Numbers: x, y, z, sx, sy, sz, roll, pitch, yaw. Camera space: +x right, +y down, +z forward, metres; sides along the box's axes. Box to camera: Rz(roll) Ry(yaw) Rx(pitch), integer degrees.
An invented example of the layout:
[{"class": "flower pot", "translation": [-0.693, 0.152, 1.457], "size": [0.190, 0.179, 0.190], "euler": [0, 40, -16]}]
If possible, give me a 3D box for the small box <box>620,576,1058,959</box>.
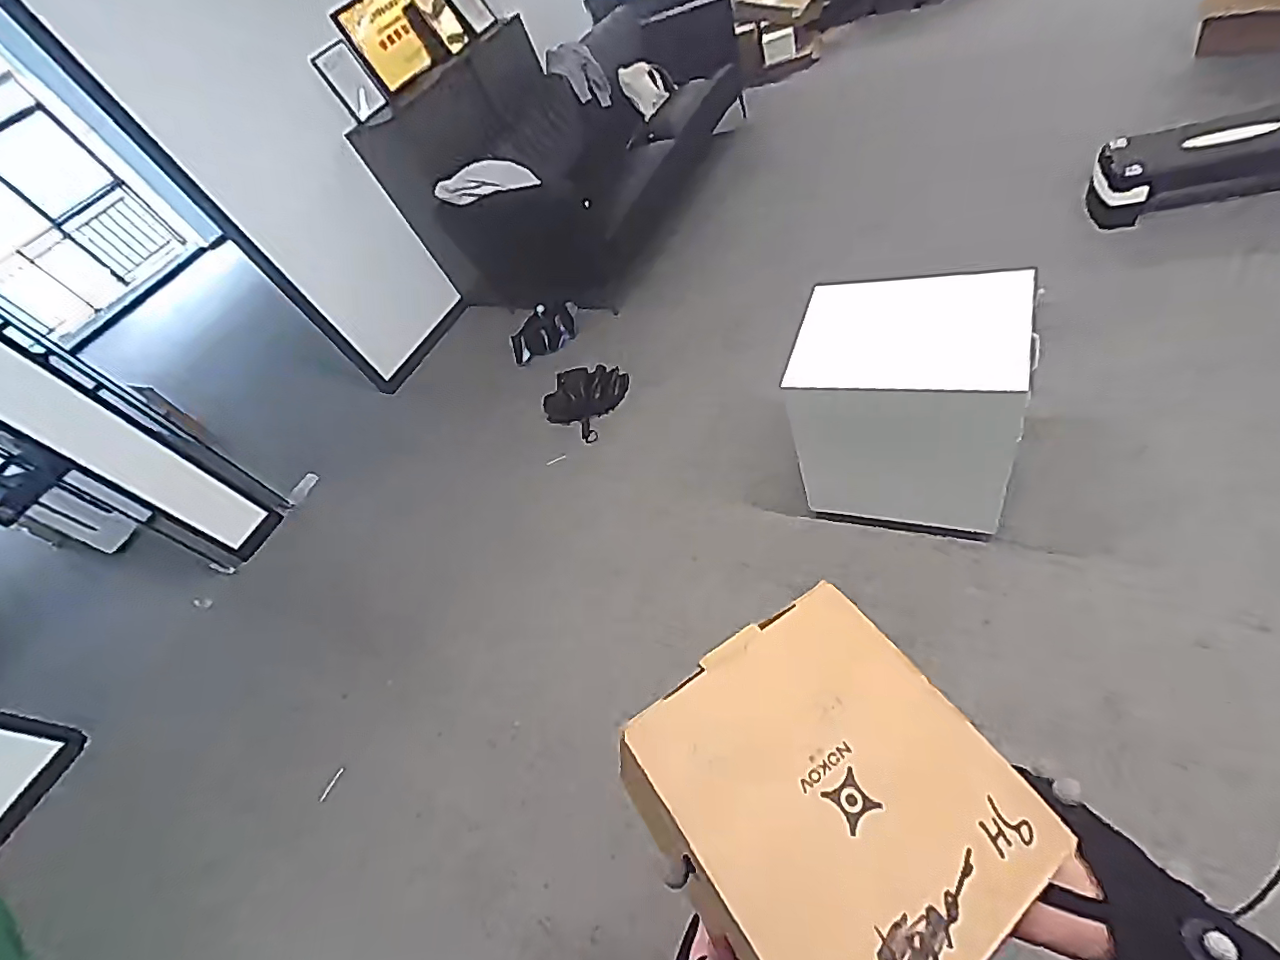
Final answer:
[{"class": "small box", "translation": [0.099, 0.203, 0.354], "size": [0.168, 0.176, 0.179], "euler": [-28, 59, -20]}]
